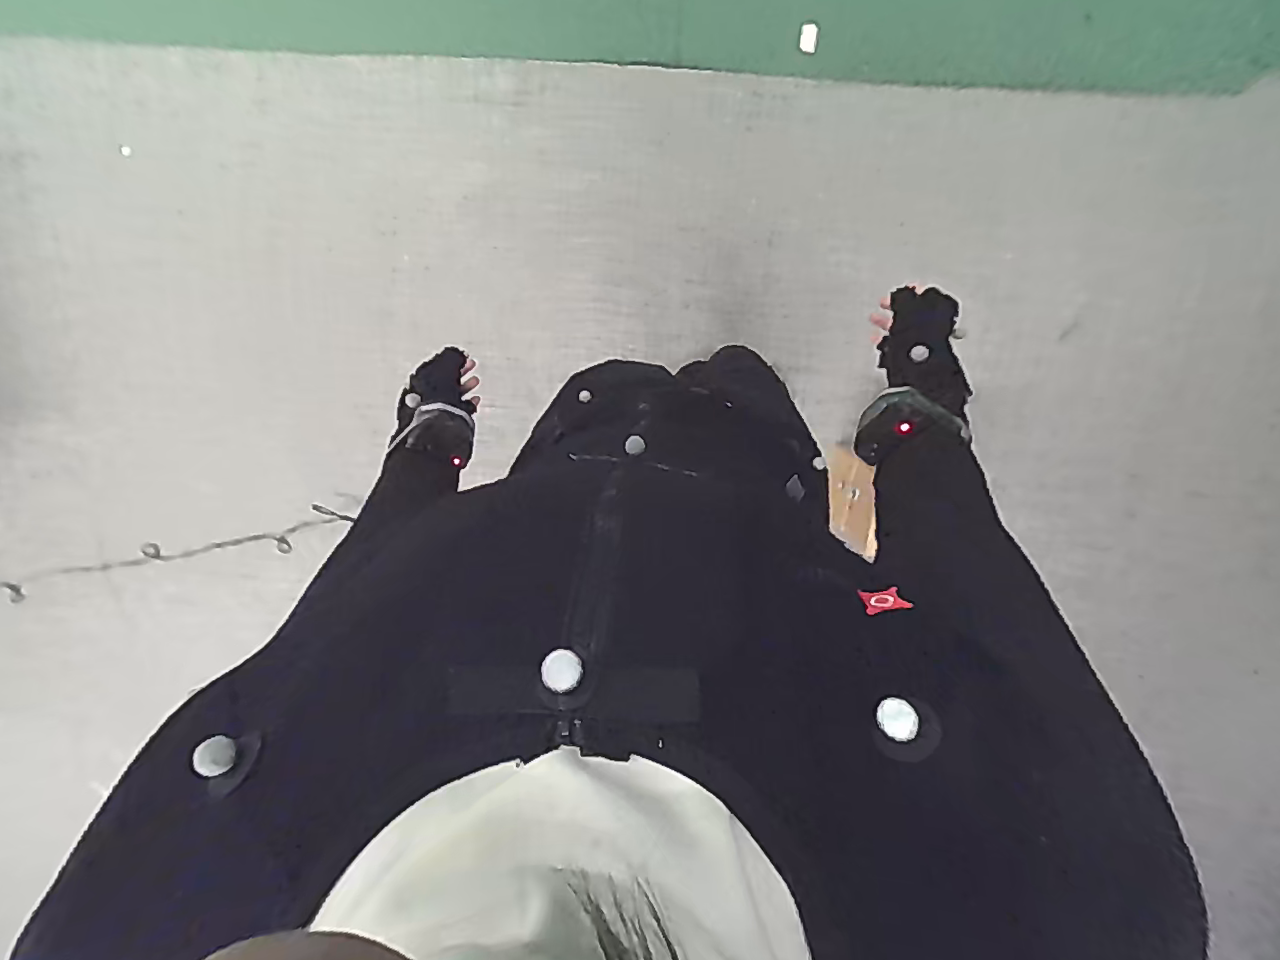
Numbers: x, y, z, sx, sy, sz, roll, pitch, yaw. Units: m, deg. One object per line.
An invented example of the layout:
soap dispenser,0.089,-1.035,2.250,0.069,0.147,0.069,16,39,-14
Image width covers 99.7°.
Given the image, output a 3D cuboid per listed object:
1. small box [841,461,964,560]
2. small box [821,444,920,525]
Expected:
small box,0.558,0.060,1.172,0.179,0.176,0.168,6,104,4
small box,0.564,0.014,1.345,0.168,0.176,0.179,7,105,3
